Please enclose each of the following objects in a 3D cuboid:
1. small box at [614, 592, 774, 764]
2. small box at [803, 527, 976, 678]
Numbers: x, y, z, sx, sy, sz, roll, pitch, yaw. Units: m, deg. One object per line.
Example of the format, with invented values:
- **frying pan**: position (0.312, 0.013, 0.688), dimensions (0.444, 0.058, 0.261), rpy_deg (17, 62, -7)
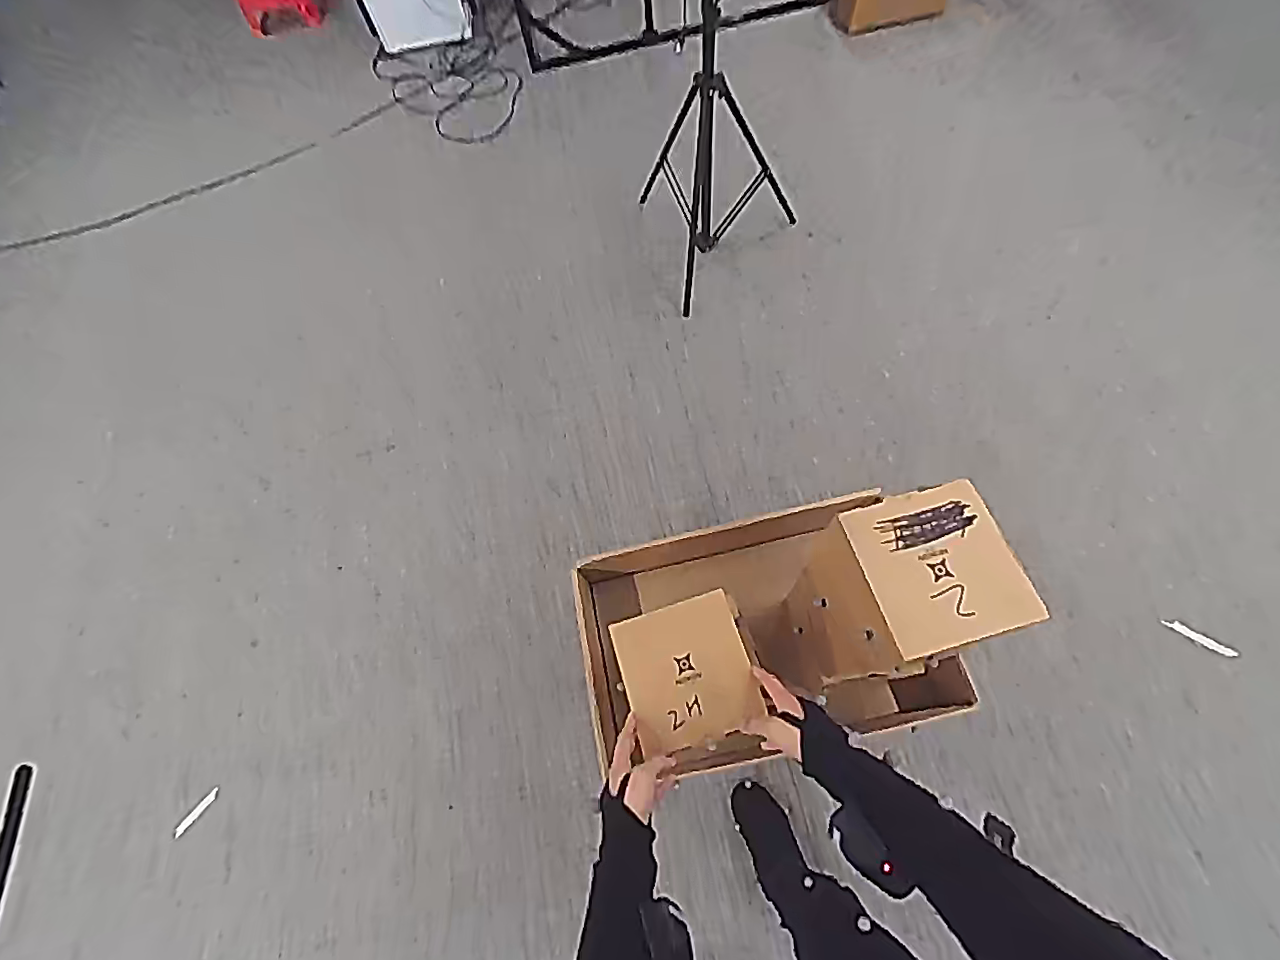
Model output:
- **small box**: position (0.072, 0.280, 0.767), dimensions (0.168, 0.176, 0.179), rpy_deg (-19, 67, 0)
- **small box**: position (0.362, 0.193, 0.825), dimensions (0.168, 0.176, 0.179), rpy_deg (-10, 64, 2)
